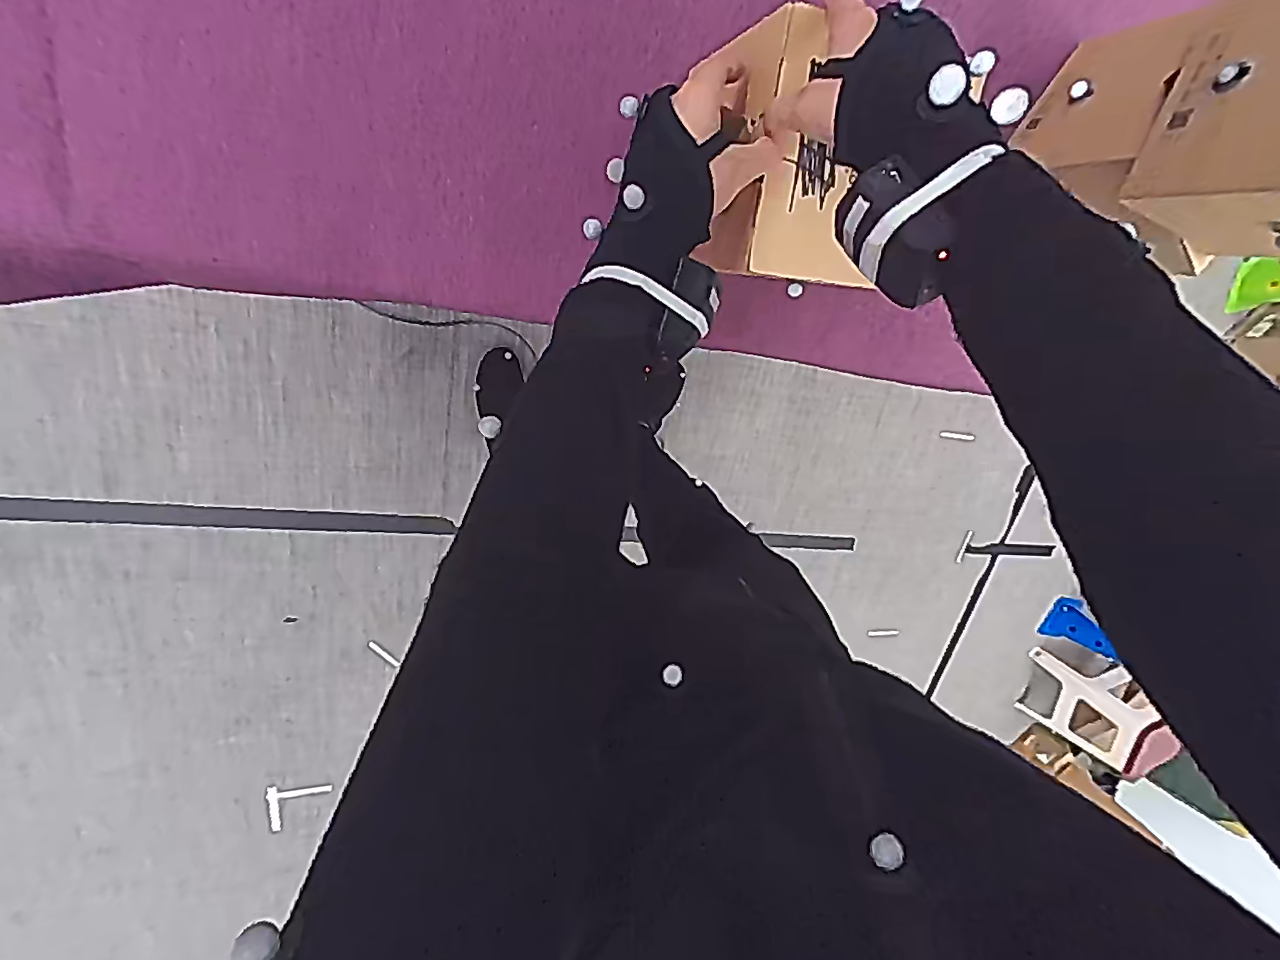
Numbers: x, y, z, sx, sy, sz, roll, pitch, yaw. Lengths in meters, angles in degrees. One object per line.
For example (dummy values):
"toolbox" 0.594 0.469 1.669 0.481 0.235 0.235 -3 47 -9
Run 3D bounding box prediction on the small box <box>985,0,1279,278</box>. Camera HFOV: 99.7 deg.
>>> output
"small box" 0.523 -0.344 0.575 0.179 0.176 0.168 31 100 -28
